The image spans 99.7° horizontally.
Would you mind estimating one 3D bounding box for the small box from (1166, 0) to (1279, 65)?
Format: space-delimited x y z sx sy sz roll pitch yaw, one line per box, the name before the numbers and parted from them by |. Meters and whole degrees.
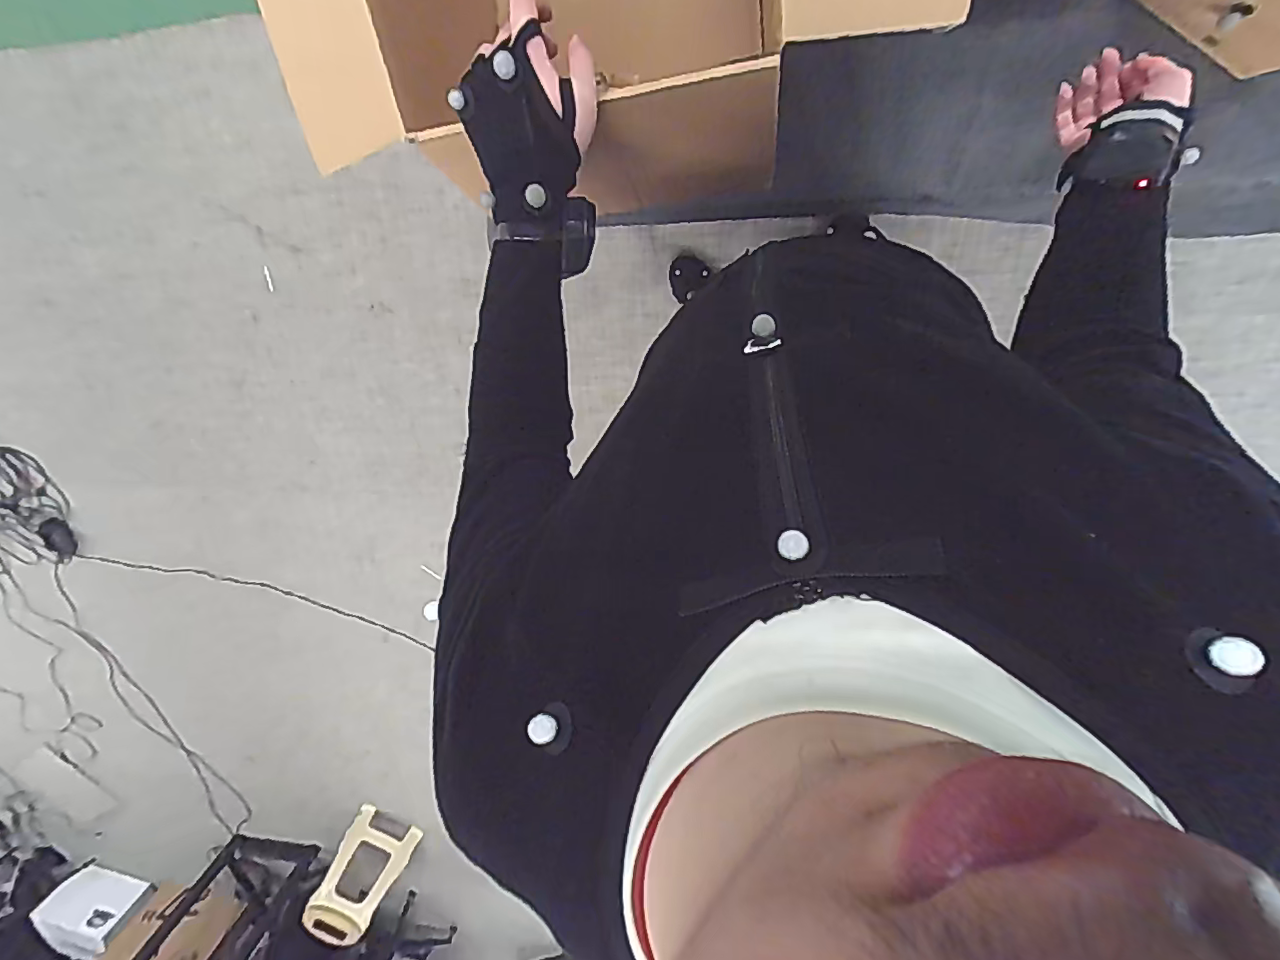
small box | 0.589 -0.489 0.445 0.168 0.176 0.179 32 119 -5
